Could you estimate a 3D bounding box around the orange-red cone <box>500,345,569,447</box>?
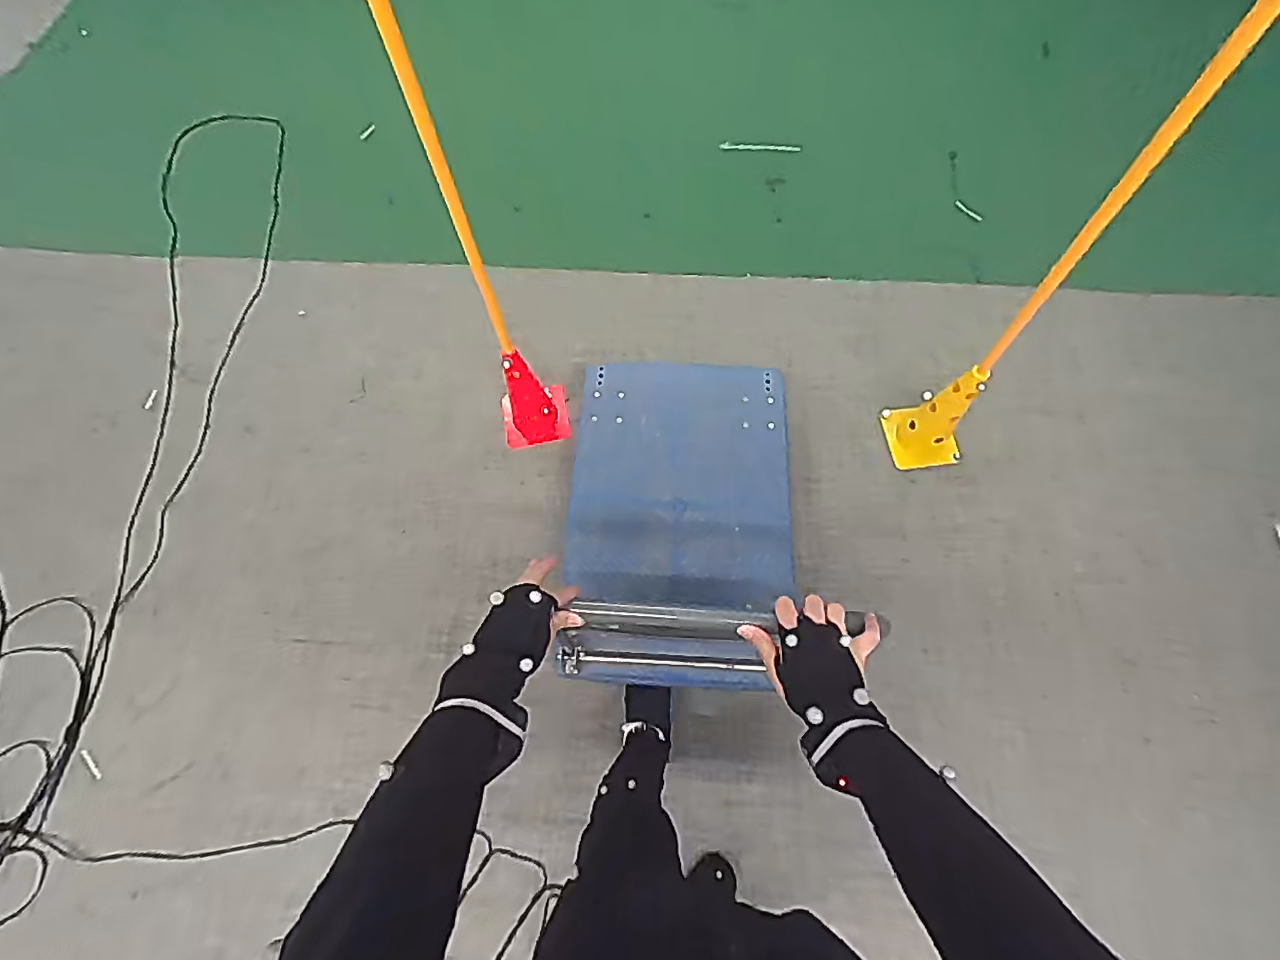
[{"bbox_3d":[-0.337,-0.266,1.552,0.199,0.360,0.198,-11,68,-1],"label":"orange-red cone"}]
